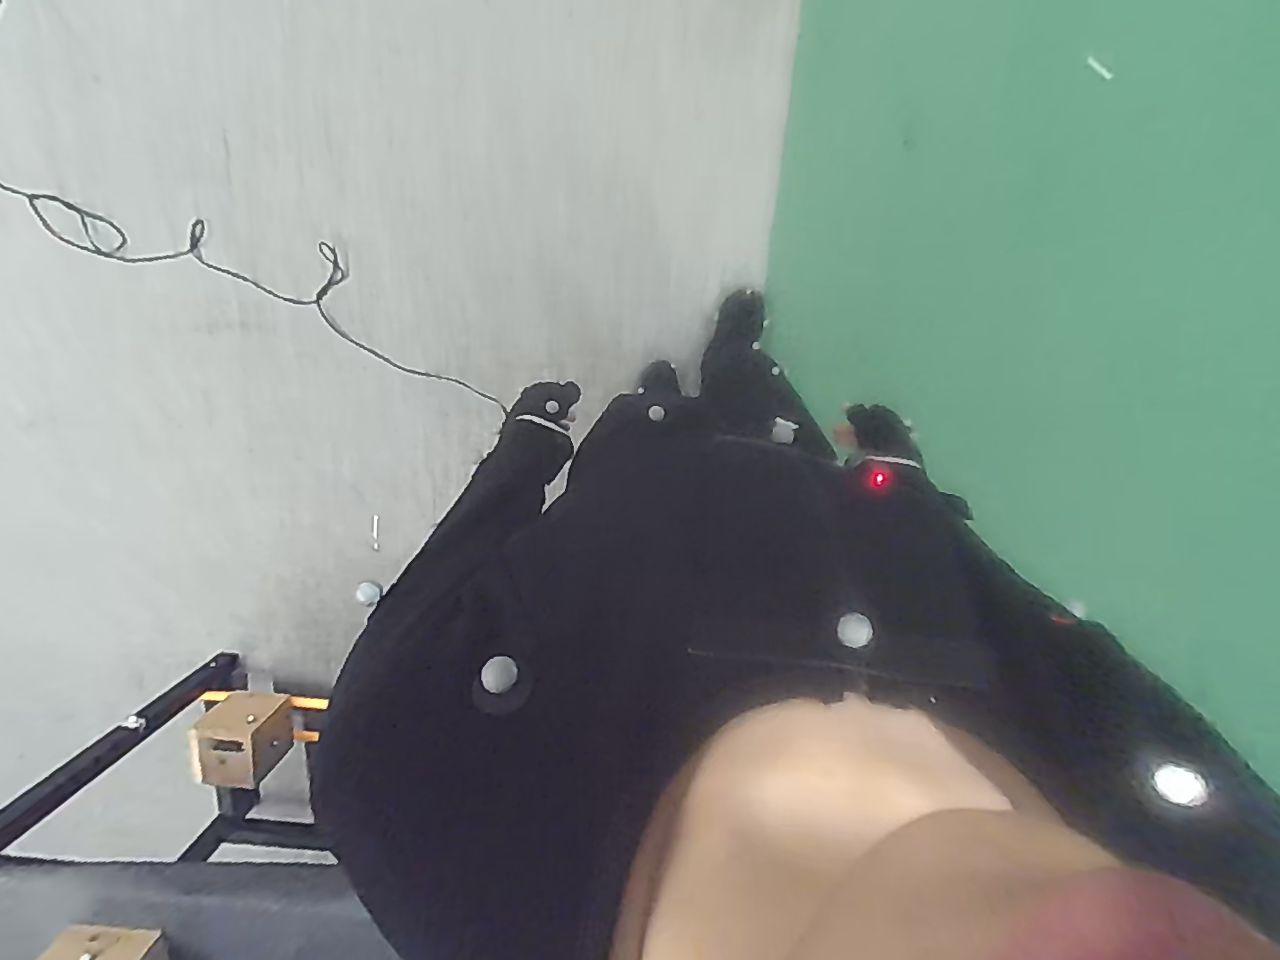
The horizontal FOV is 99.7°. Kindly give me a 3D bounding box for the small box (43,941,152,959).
[{"bbox_3d":[-0.922,0.898,0.868,0.168,0.176,0.179,4,104,-1],"label":"small box"}]
